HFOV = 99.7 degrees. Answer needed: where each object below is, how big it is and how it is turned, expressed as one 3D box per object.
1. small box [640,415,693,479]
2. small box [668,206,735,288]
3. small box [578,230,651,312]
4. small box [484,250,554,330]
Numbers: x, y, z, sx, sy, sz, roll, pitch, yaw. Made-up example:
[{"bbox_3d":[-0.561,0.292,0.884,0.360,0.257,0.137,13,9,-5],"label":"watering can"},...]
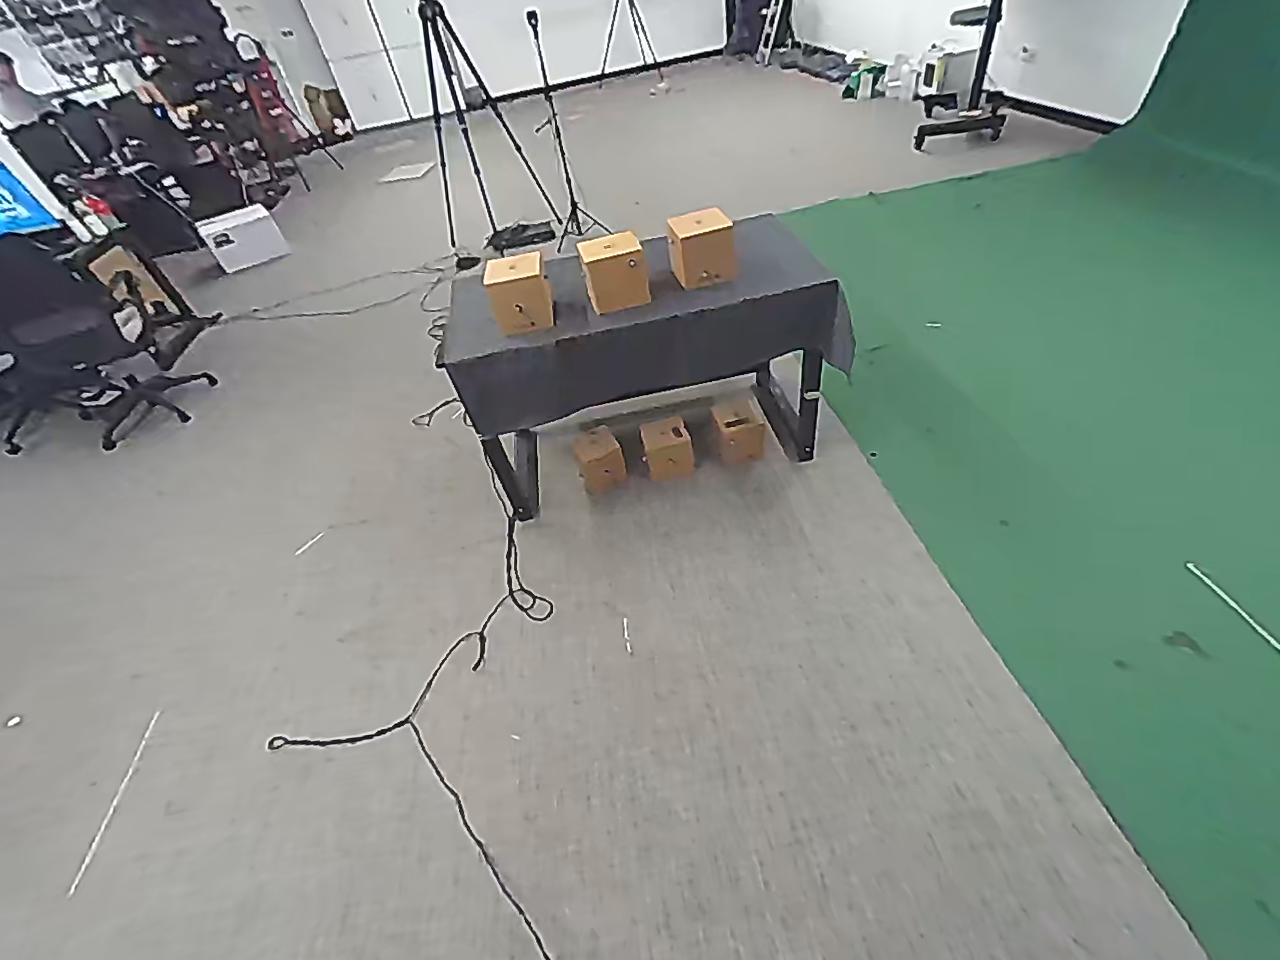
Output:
[{"bbox_3d":[0.108,-0.129,2.137,0.179,0.176,0.168,-14,44,-1],"label":"small box"},{"bbox_3d":[0.190,-0.720,1.674,0.168,0.176,0.179,-15,44,-1],"label":"small box"},{"bbox_3d":[-0.077,-0.633,1.645,0.179,0.176,0.168,-15,44,-4],"label":"small box"},{"bbox_3d":[-0.359,-0.567,1.633,0.168,0.176,0.179,-10,44,1],"label":"small box"}]
